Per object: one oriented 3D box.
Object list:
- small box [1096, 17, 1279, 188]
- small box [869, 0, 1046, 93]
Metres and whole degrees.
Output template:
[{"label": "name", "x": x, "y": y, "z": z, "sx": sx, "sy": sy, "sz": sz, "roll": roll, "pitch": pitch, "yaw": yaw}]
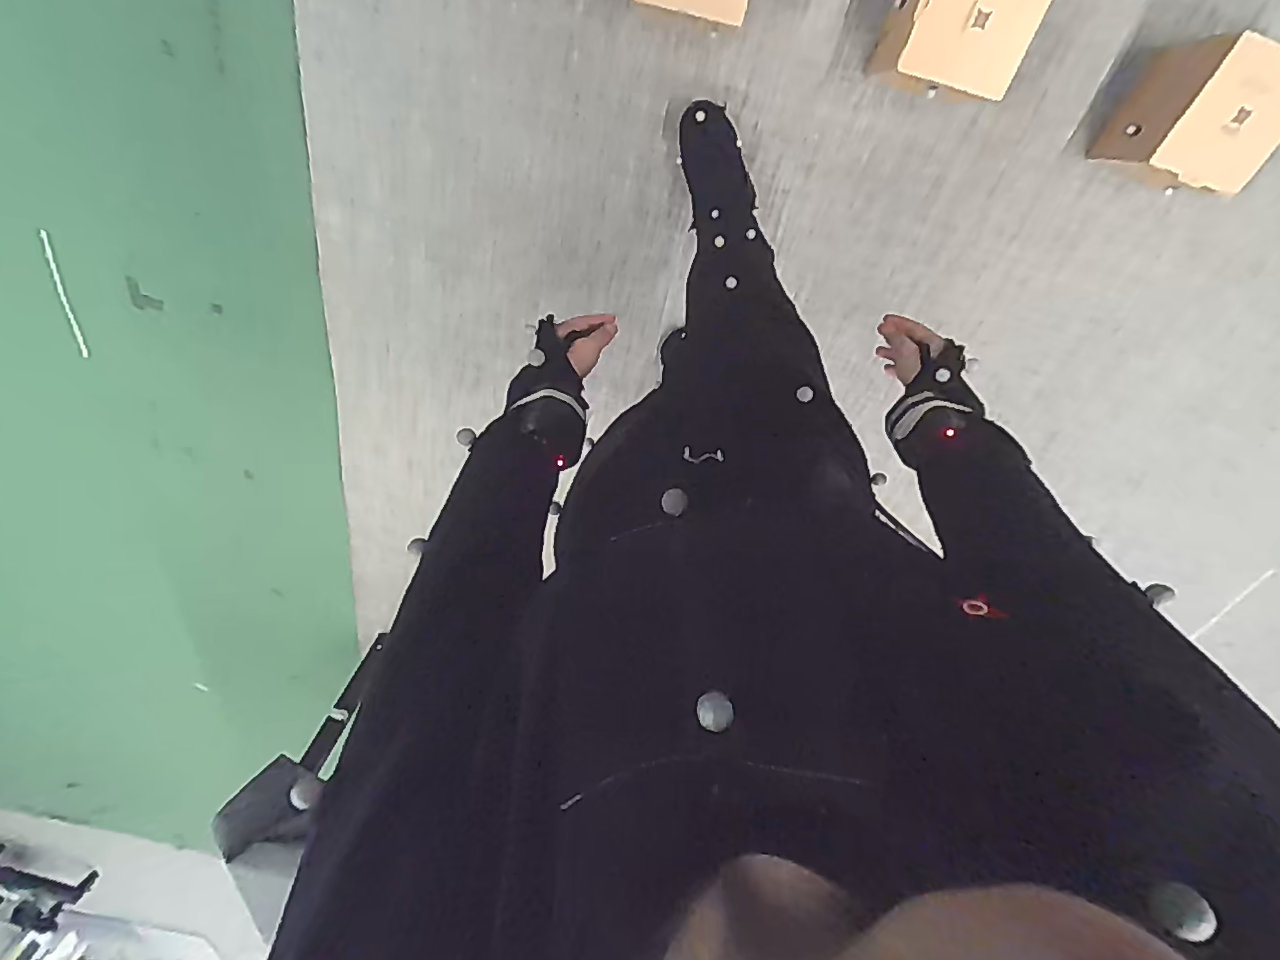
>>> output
[{"label": "small box", "x": 0.903, "y": -0.601, "z": 0.877, "sx": 0.168, "sy": 0.176, "sz": 0.179, "roll": 16, "pitch": 122, "yaw": -7}, {"label": "small box", "x": 0.491, "y": -0.721, "z": 0.840, "sx": 0.179, "sy": 0.176, "sz": 0.168, "roll": 14, "pitch": 124, "yaw": -3}]
